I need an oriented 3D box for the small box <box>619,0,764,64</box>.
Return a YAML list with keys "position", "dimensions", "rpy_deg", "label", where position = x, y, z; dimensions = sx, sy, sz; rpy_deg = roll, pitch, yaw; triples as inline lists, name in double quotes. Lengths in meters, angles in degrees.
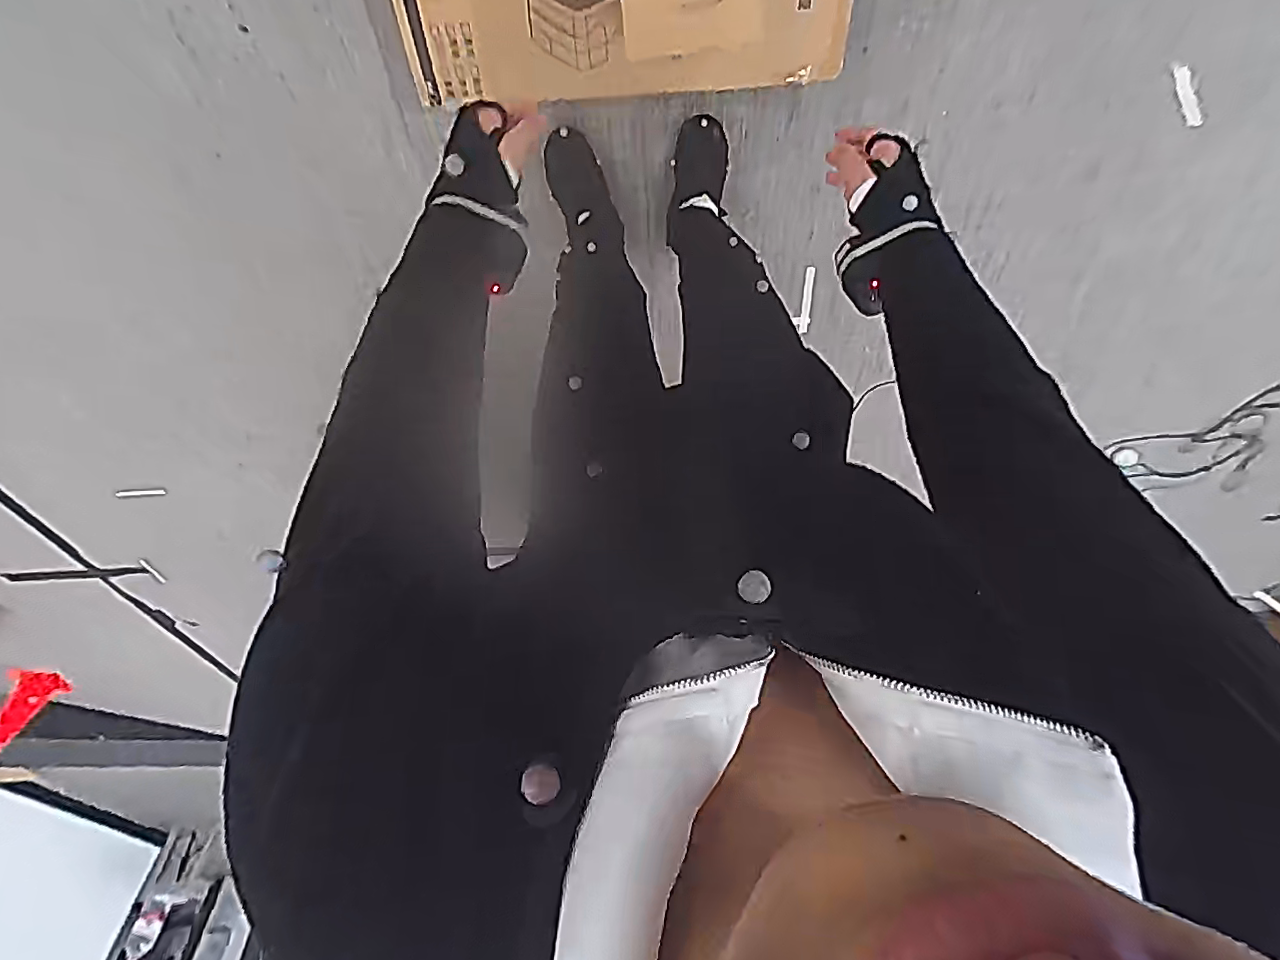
- position: [0.053, -0.632, 0.653]
  dimensions: [0.168, 0.176, 0.179]
  rpy_deg: [-7, 134, 4]
  label: "small box"
